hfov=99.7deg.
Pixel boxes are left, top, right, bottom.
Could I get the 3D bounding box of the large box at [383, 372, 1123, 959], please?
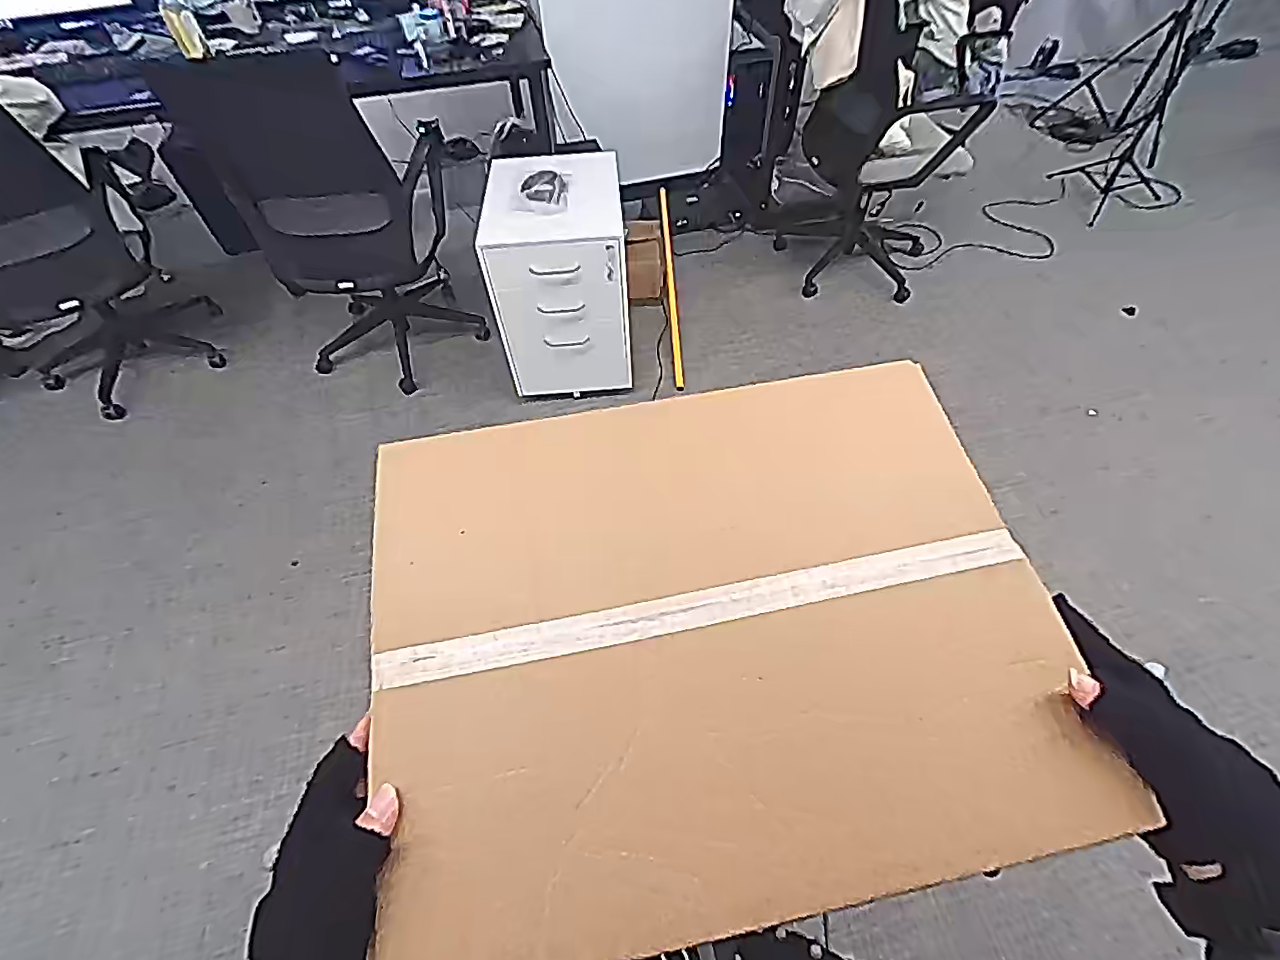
[{"bbox_3d":[0.044,0.151,0.474,0.408,0.320,0.320,-11,63,-5],"label":"large box"}]
